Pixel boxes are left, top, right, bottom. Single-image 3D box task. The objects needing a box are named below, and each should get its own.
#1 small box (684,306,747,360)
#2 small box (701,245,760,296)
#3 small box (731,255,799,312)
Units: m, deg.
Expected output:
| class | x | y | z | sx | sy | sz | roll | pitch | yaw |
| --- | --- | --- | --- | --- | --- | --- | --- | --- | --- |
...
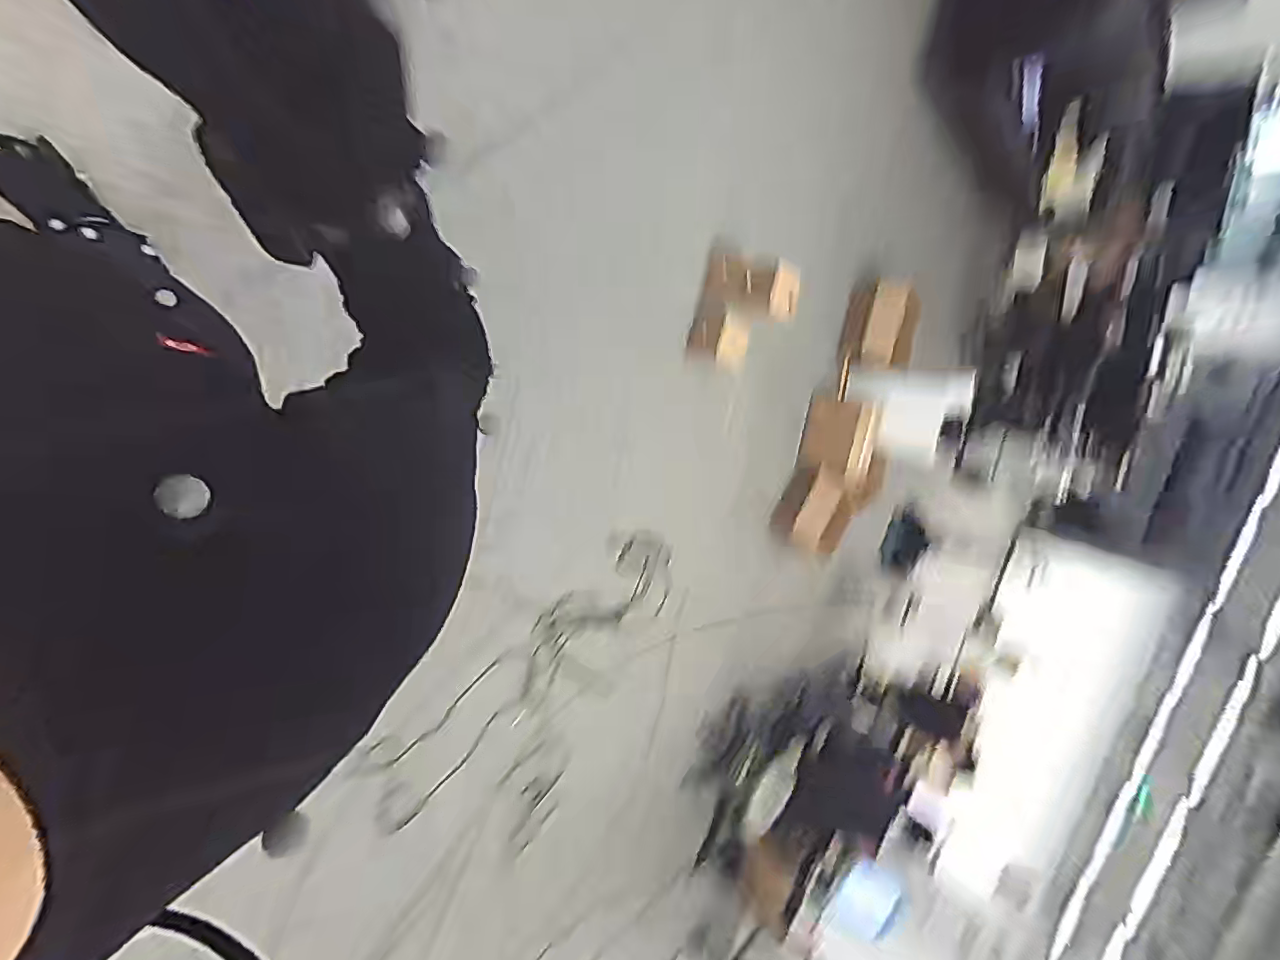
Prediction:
| class | x | y | z | sx | sy | sz | roll | pitch | yaw |
| --- | --- | --- | --- | --- | --- | --- | --- | --- | --- |
| small box | 0.309 | -0.609 | 2.233 | 0.179 | 0.176 | 0.168 | 11 | 99 | -49 |
| small box | 0.373 | -0.846 | 2.198 | 0.179 | 0.176 | 0.168 | -5 | 110 | -46 |
| small box | 0.485 | -0.767 | 2.102 | 0.179 | 0.176 | 0.168 | 5 | 103 | -48 |
